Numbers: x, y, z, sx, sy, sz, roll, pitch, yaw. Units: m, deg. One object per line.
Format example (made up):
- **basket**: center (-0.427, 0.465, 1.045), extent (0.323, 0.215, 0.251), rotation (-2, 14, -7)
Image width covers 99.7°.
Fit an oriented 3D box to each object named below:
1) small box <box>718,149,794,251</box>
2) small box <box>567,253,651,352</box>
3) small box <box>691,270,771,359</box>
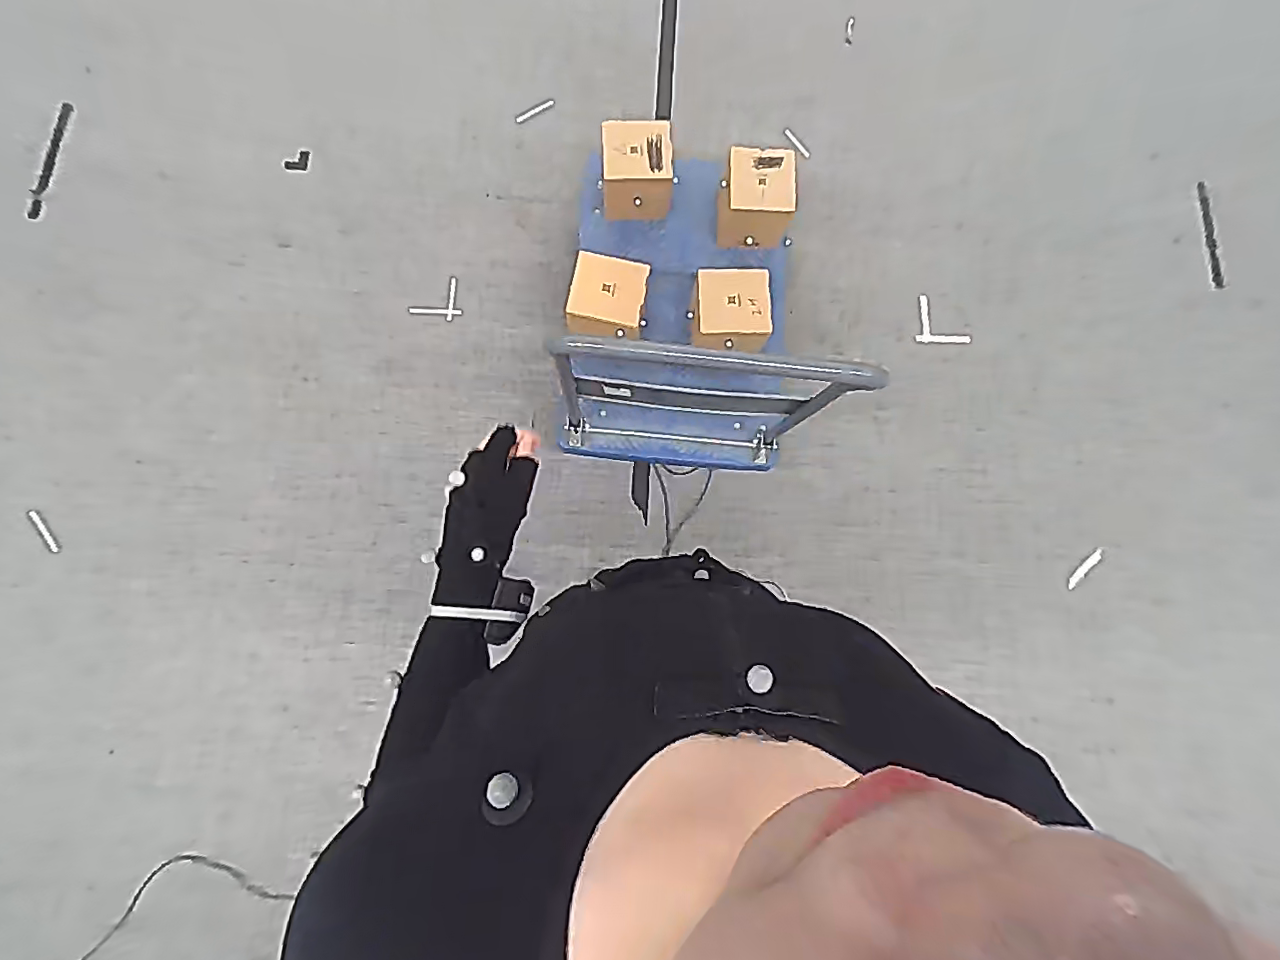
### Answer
- **small box**: center (0.304, -0.741, 1.442), extent (0.168, 0.176, 0.179), rotation (2, 81, -2)
- **small box**: center (-0.079, -0.442, 1.373), extent (0.179, 0.176, 0.168), rotation (11, 79, -2)
- **small box**: center (0.224, -0.416, 1.383), extent (0.179, 0.176, 0.168), rotation (0, 80, -3)
